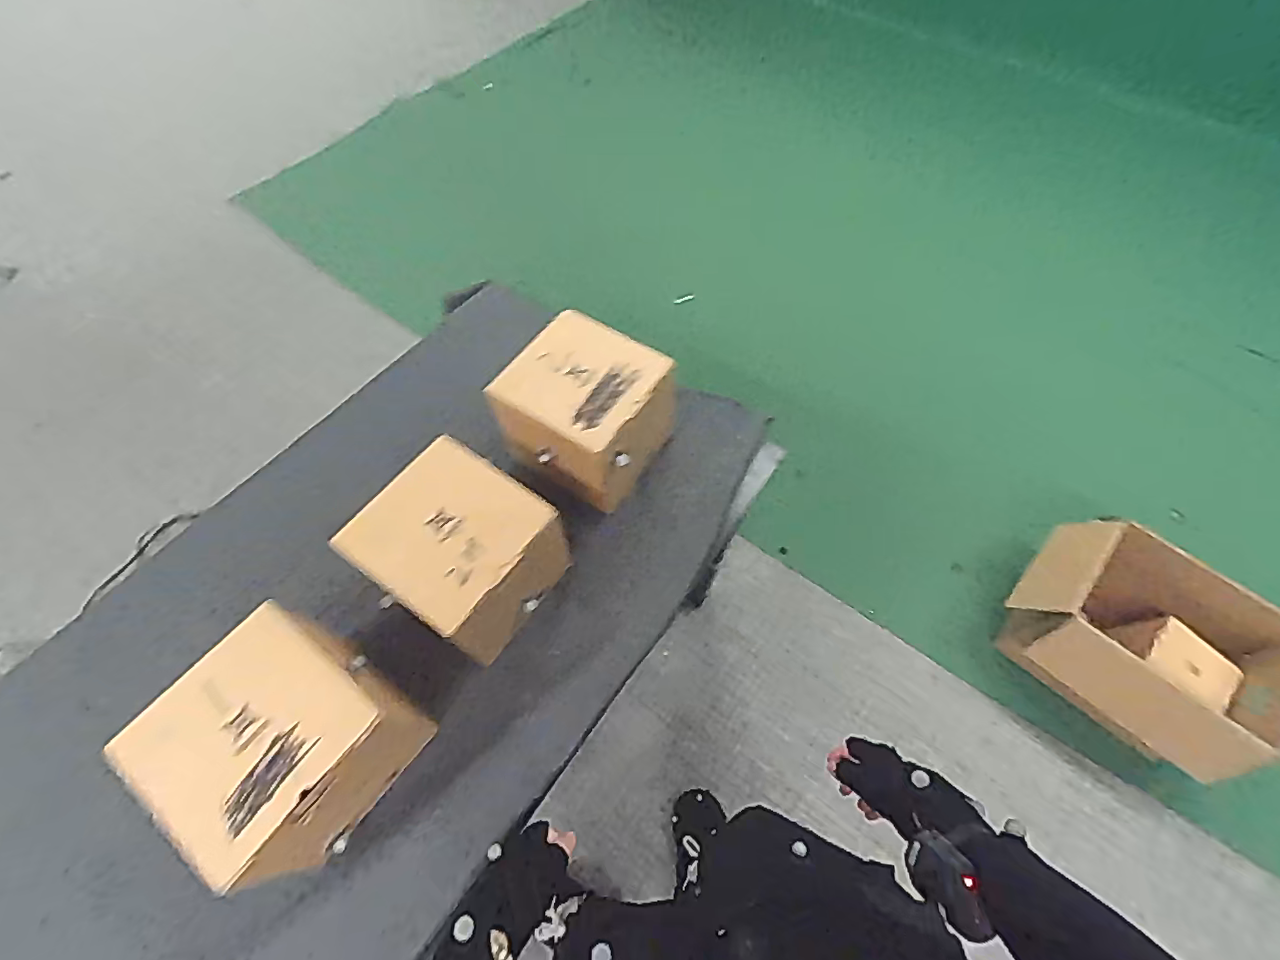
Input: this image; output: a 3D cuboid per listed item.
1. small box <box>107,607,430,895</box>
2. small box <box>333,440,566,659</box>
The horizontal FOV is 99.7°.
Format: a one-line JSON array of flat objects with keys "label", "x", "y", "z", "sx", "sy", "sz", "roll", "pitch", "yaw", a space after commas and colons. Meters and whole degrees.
[{"label": "small box", "x": -0.348, "y": 0.263, "z": 0.547, "sx": 0.179, "sy": 0.176, "sz": 0.168, "roll": 33, "pitch": 65, "yaw": 17}, {"label": "small box", "x": -0.209, "y": 0.090, "z": 0.645, "sx": 0.179, "sy": 0.176, "sz": 0.168, "roll": 32, "pitch": 67, "yaw": 15}]
